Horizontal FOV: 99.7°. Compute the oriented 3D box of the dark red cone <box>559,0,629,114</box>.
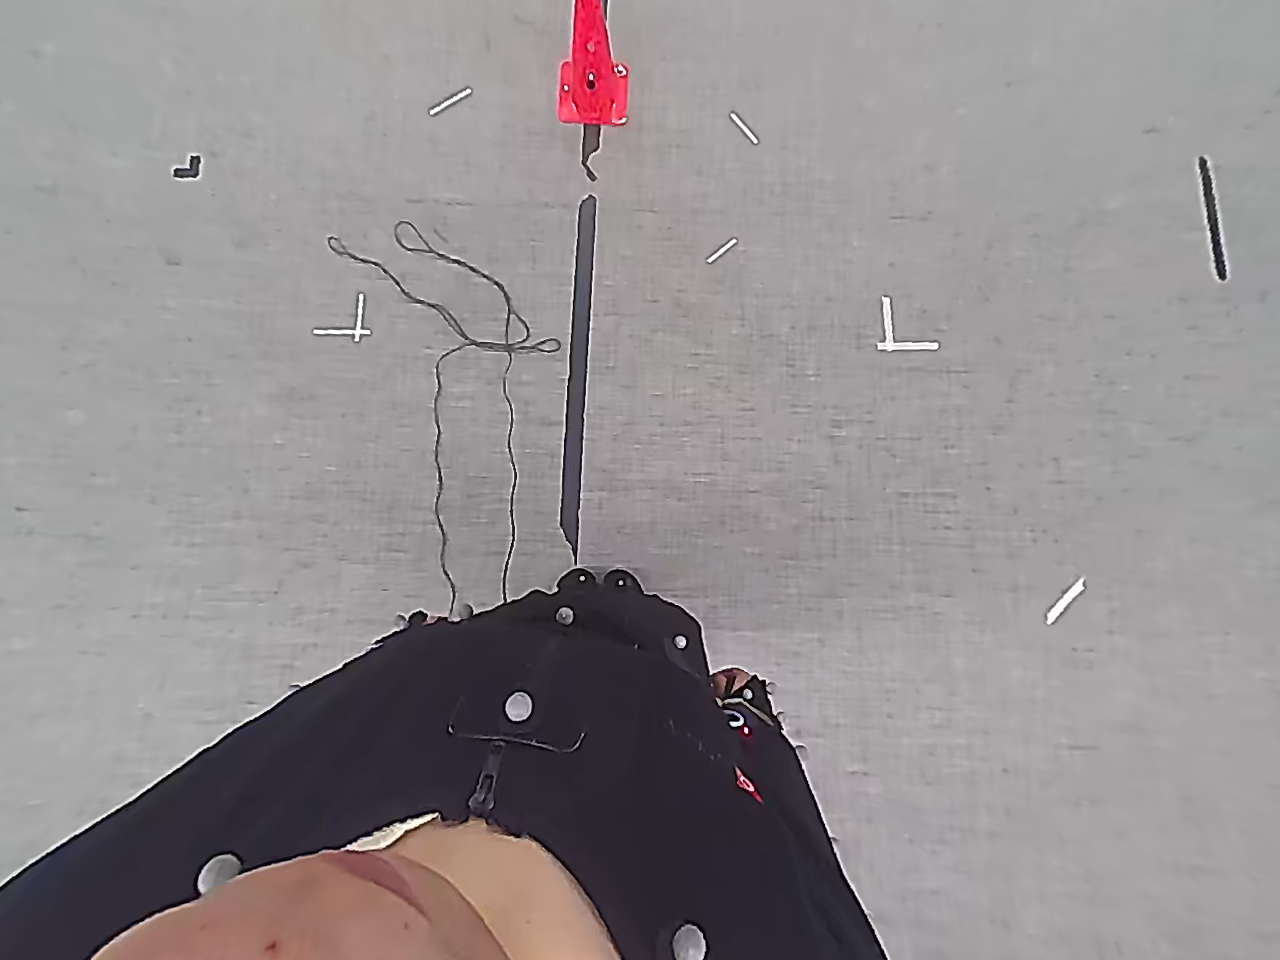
[{"bbox_3d":[-0.129,-1.164,1.384,0.201,0.394,0.202,1,82,0],"label":"dark red cone"}]
